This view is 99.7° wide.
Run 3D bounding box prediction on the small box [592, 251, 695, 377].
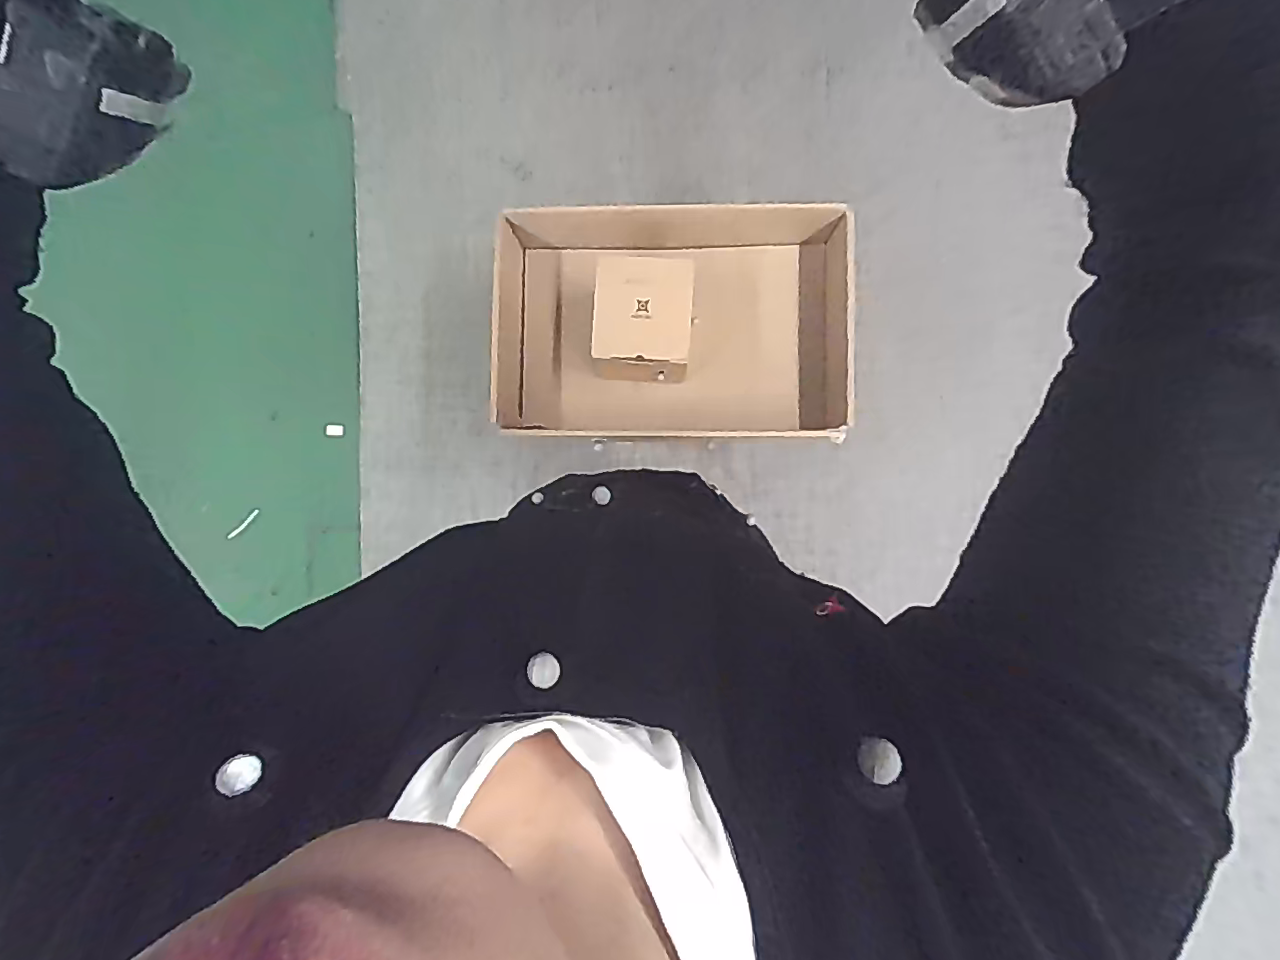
[{"bbox_3d":[0.009,-0.291,0.983,0.168,0.176,0.179,3,87,1],"label":"small box"}]
